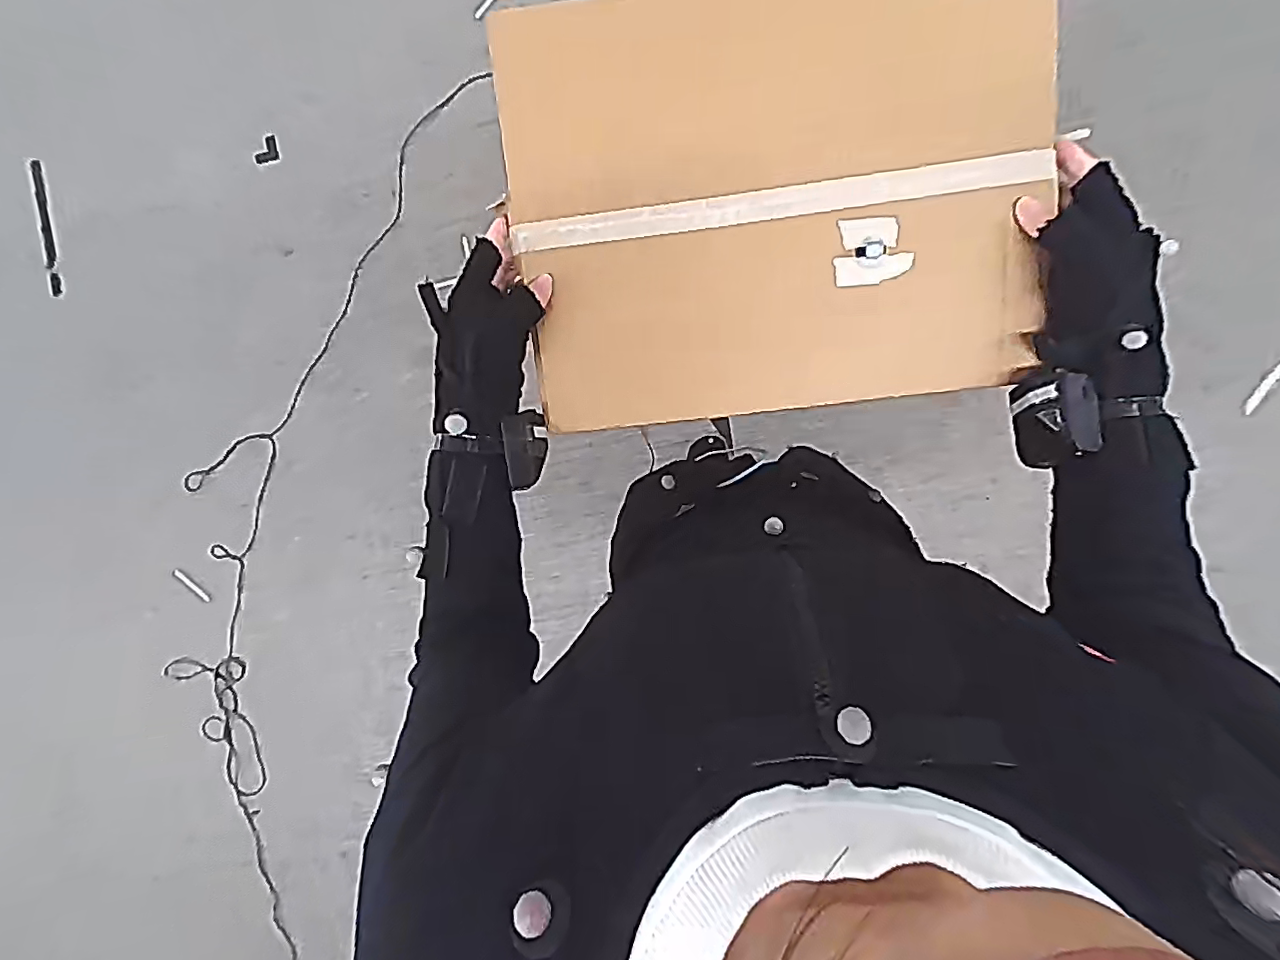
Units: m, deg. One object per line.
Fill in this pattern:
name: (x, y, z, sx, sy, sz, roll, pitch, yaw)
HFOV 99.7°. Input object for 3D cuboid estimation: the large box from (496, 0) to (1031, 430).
large box: (0.107, -0.241, 0.575, 0.408, 0.320, 0.320, -6, 100, 4)
